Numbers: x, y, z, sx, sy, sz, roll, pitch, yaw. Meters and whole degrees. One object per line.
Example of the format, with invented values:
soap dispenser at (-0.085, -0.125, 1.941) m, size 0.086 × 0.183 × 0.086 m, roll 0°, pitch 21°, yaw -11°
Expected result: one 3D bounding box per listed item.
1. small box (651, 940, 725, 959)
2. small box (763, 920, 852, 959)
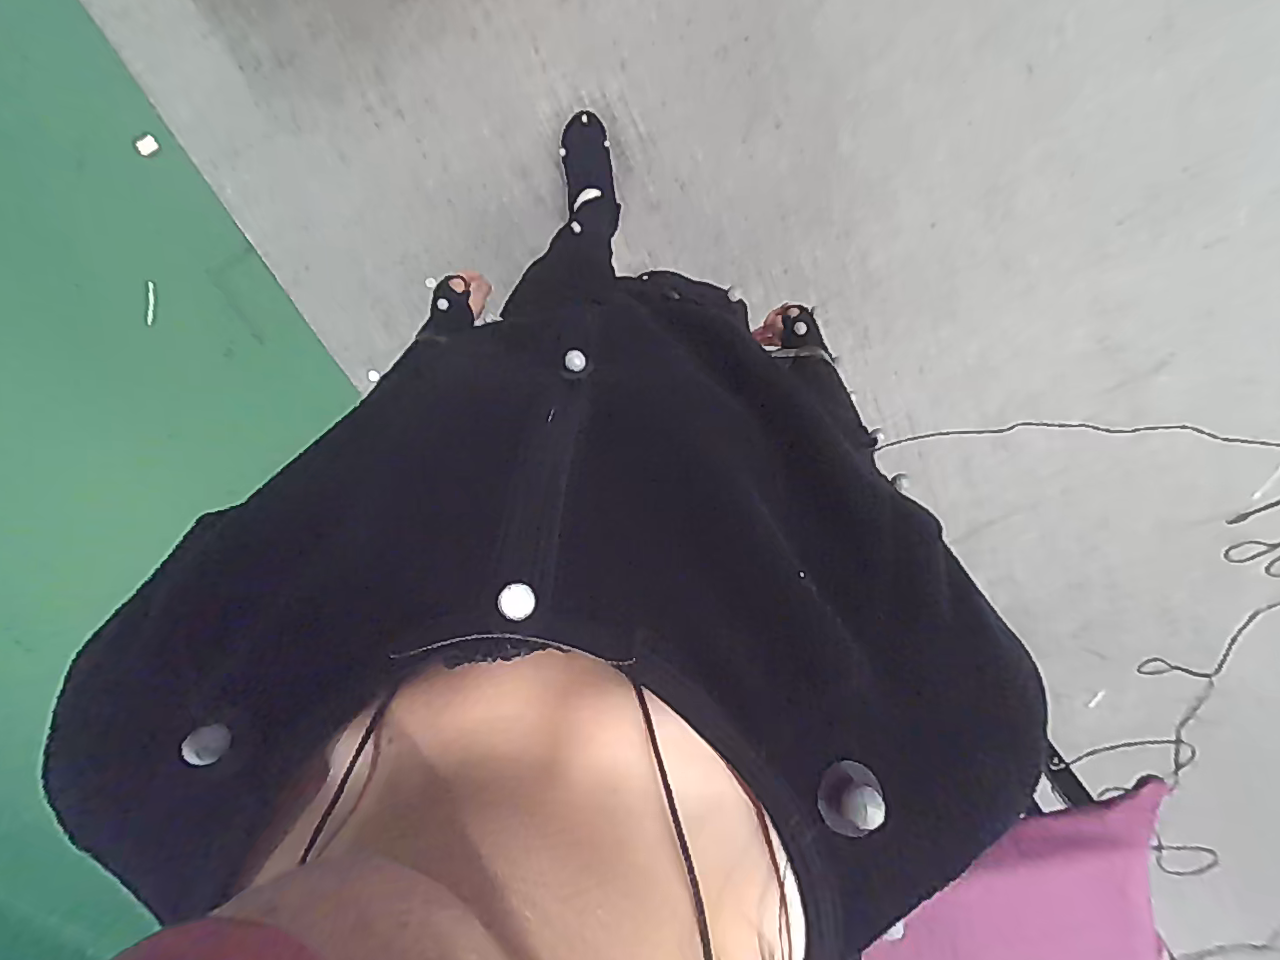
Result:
small box at (0.121, 1.243, 1.282) m, size 0.179 × 0.176 × 0.168 m, roll -26°, pitch 113°, yaw 12°
small box at (0.401, 1.152, 1.233) m, size 0.168 × 0.176 × 0.179 m, roll -28°, pitch 112°, yaw 13°
